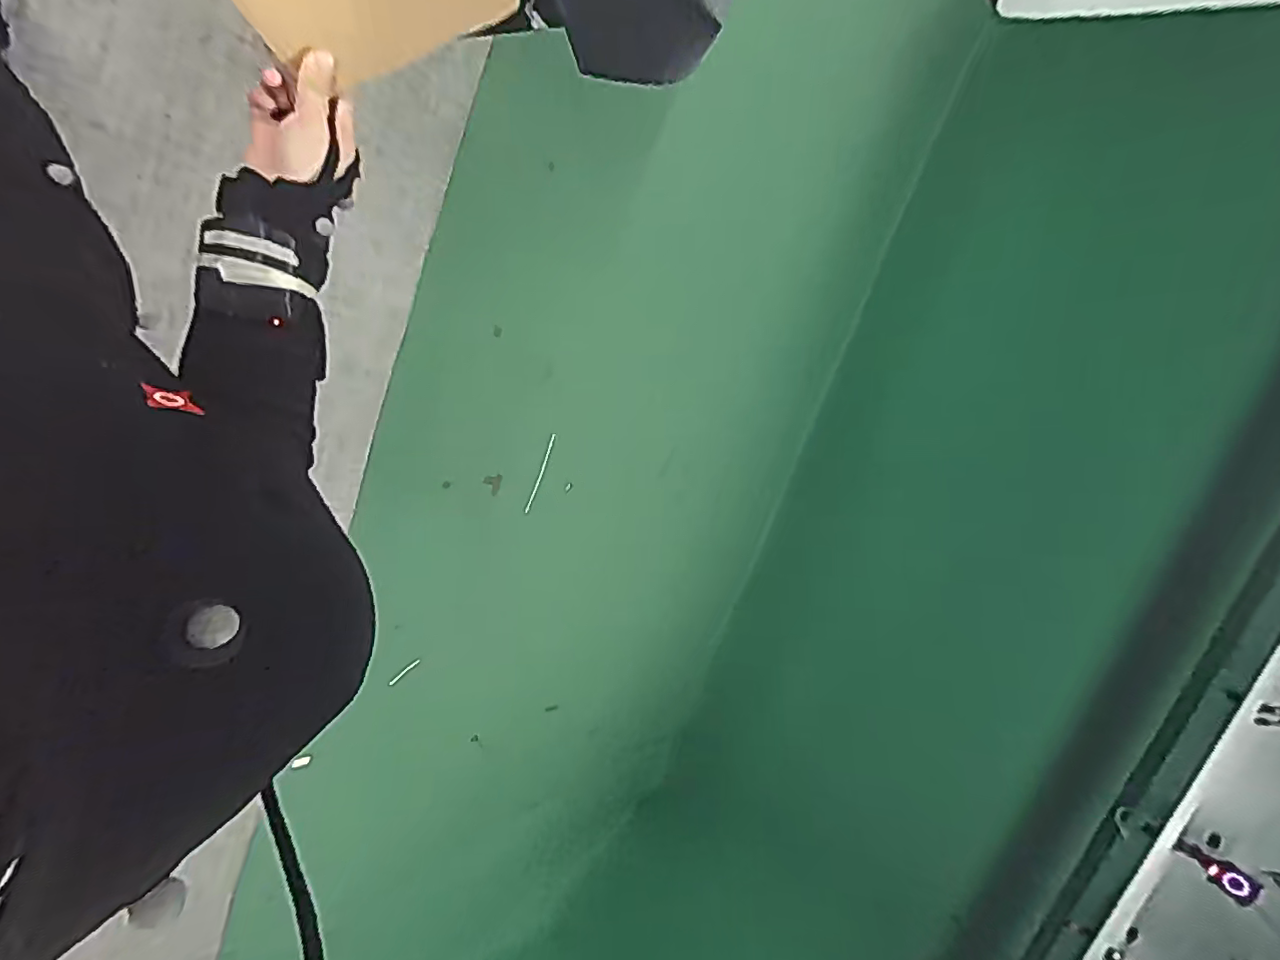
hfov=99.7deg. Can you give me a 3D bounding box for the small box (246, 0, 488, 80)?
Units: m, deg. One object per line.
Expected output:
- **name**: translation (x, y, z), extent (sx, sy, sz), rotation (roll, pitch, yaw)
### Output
- **small box**: translation (-0.204, -0.415, 0.335), extent (0.179, 0.176, 0.168), rotation (-24, 166, 4)
